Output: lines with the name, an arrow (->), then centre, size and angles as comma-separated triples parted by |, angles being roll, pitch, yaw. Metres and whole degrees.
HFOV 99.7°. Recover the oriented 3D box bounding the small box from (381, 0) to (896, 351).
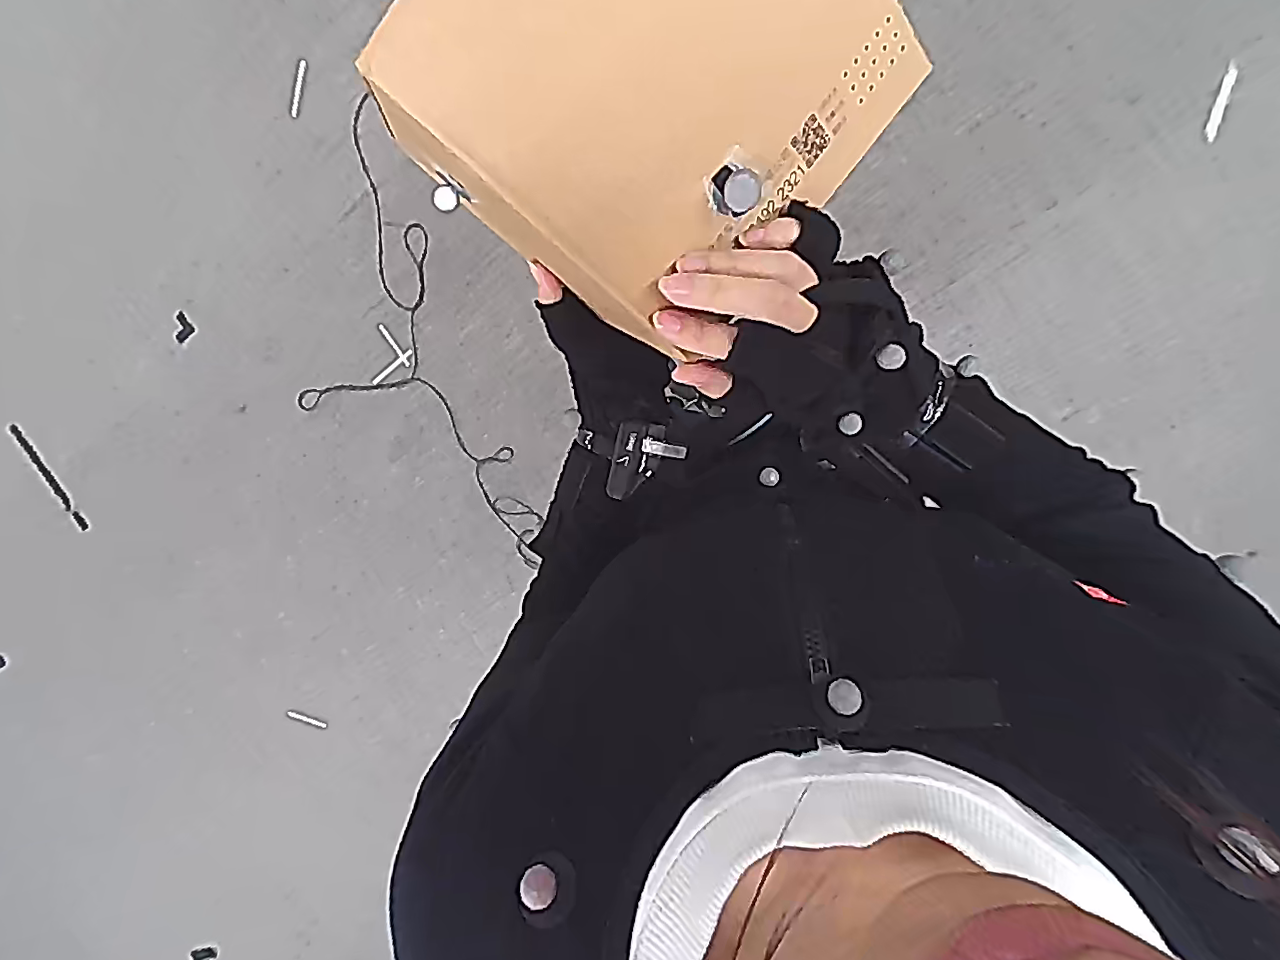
small box -> -0.009, -0.193, 0.294 | 0.176, 0.179, 0.168 | 34, 98, -30
